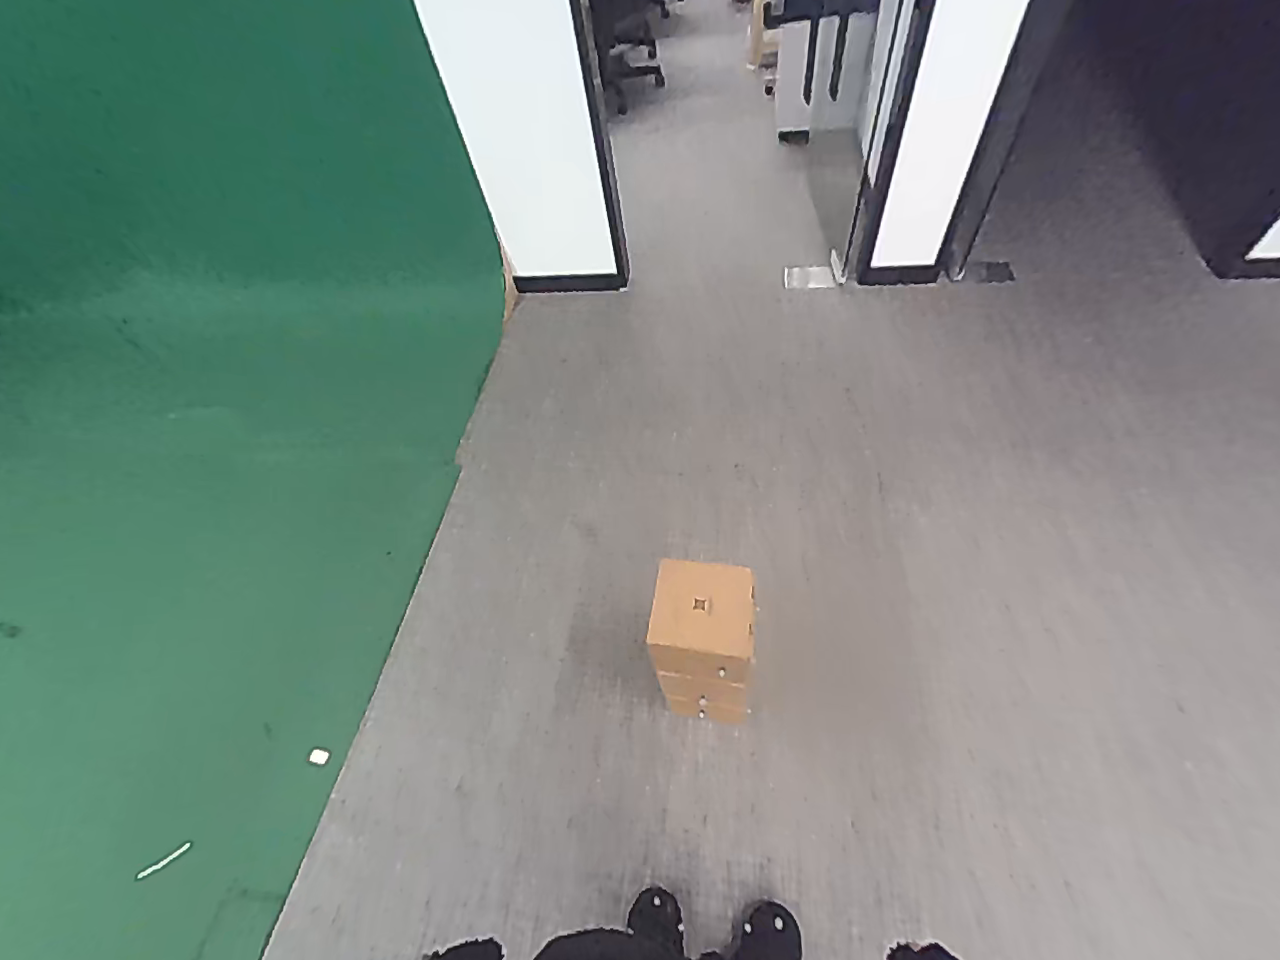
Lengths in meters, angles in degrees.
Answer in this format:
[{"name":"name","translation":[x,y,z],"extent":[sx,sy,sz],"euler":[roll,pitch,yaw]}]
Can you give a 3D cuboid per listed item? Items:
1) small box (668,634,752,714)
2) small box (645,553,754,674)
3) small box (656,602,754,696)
[{"name":"small box","translation":[0.167,0.446,1.281],"extent":[0.179,0.176,0.168],"euler":[4,57,10]},{"name":"small box","translation":[0.118,0.256,1.021],"extent":[0.179,0.176,0.168],"euler":[4,56,13]},{"name":"small box","translation":[0.142,0.350,1.151],"extent":[0.179,0.176,0.168],"euler":[6,58,13]}]
